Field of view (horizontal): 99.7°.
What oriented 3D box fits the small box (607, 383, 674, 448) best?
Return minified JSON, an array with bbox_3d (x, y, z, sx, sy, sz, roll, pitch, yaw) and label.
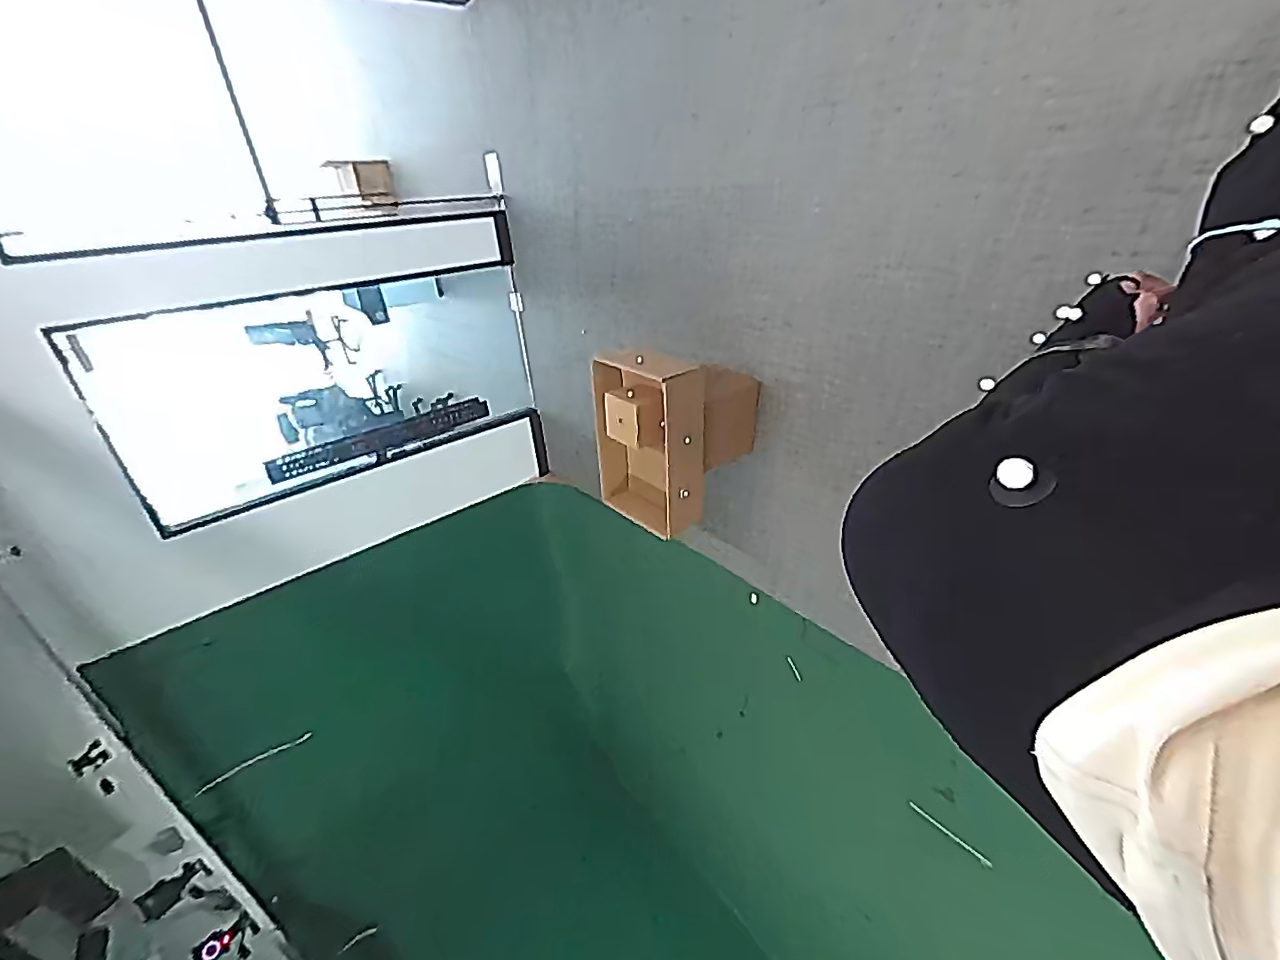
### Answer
[{"bbox_3d":[0.001,-0.235,1.916,0.179,0.176,0.168,29,131,42],"label":"small box"}]
